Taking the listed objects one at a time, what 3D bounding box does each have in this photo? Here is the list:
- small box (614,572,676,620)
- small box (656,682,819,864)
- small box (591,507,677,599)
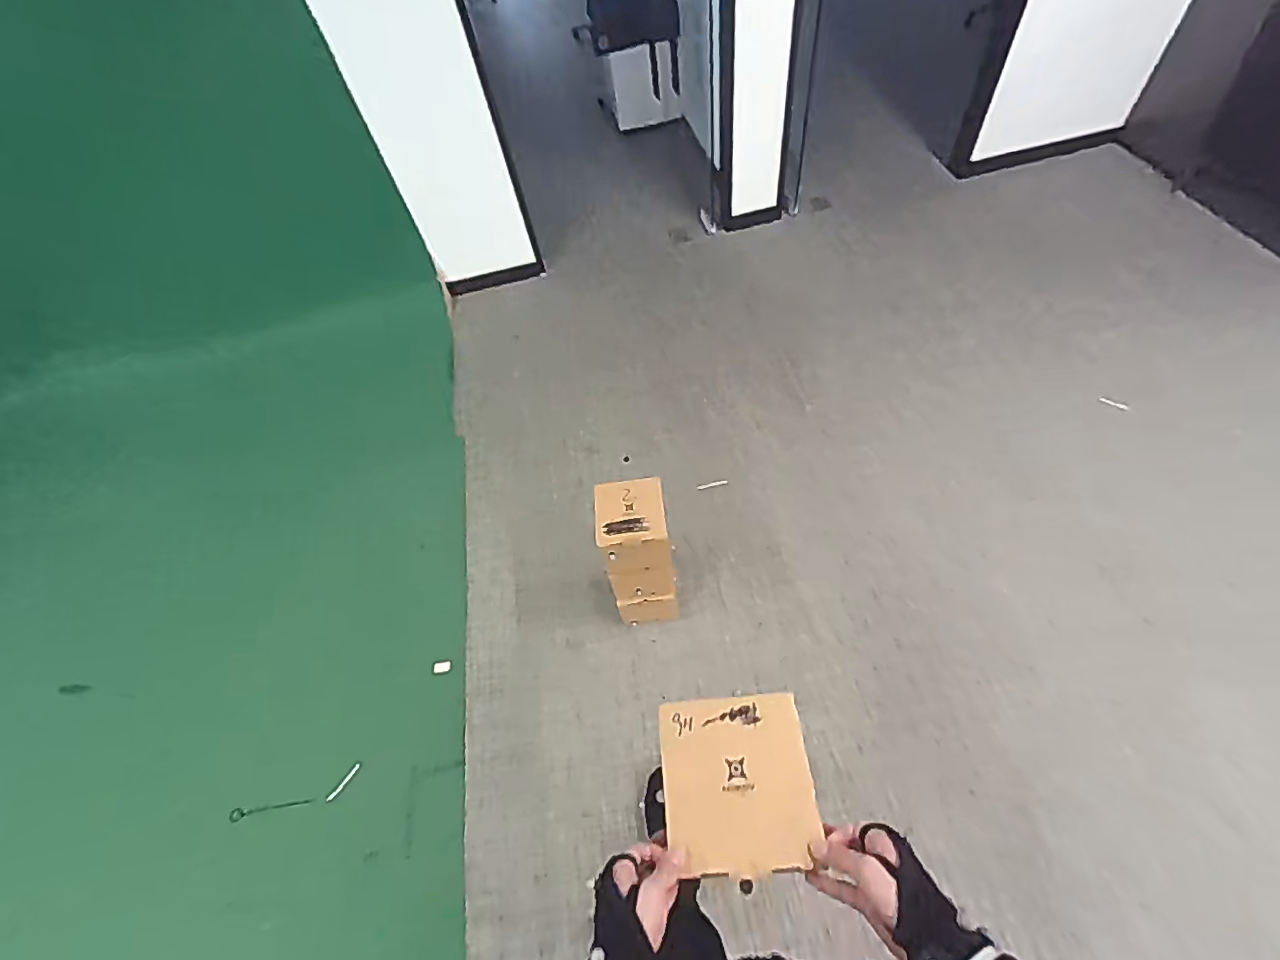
[{"bbox_3d":[0.012,0.308,1.612,0.168,0.176,0.179,-8,55,2],"label":"small box"},{"bbox_3d":[0.110,0.365,0.669,0.168,0.176,0.179,-5,54,3],"label":"small box"},{"bbox_3d":[-0.010,0.207,1.496,0.179,0.176,0.168,19,62,20],"label":"small box"}]
